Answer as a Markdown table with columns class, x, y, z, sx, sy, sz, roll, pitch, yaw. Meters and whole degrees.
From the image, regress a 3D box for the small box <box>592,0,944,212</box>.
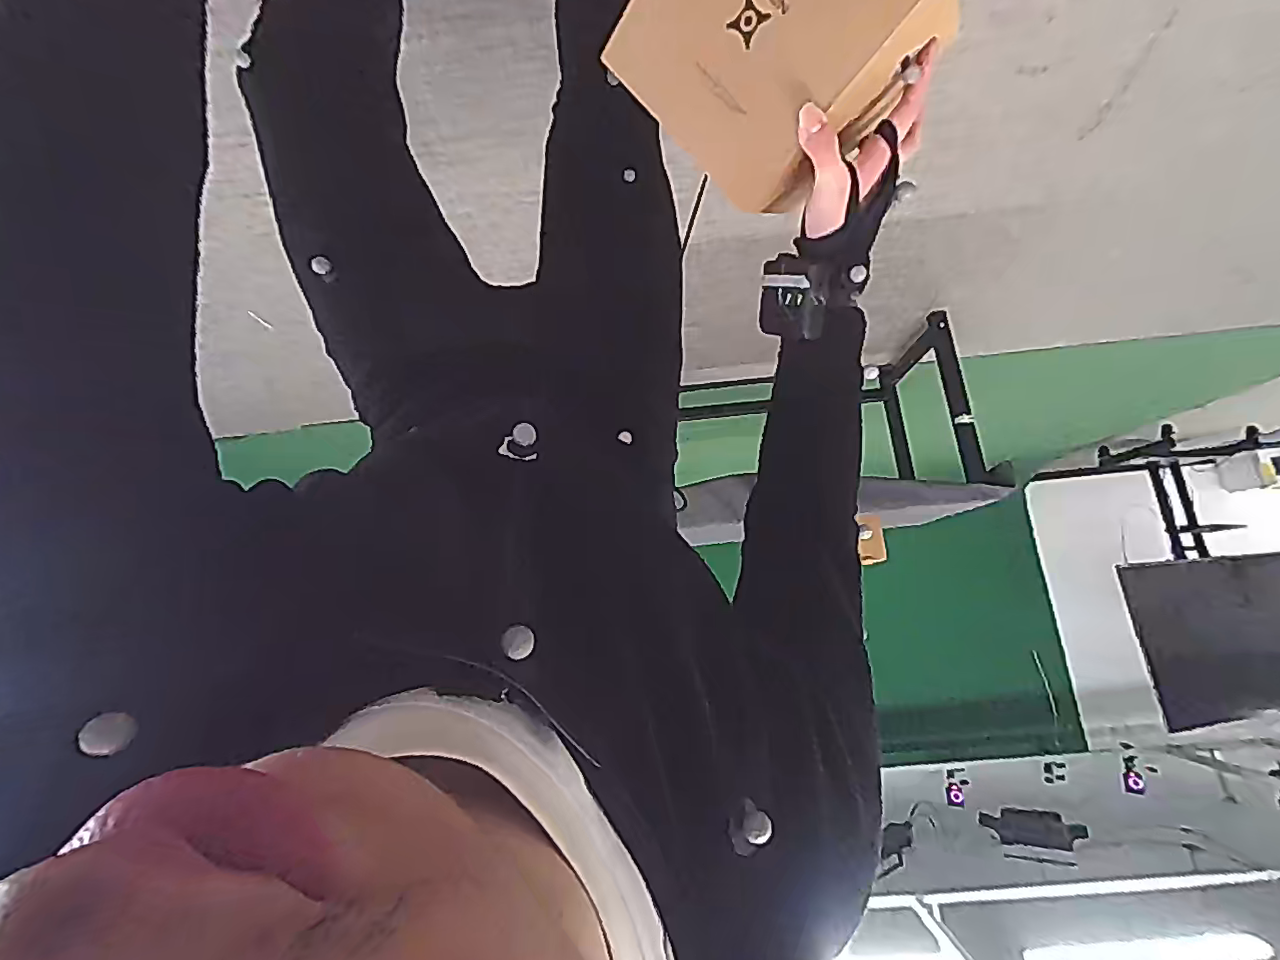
| class | x | y | z | sx | sy | sz | roll | pitch | yaw |
| --- | --- | --- | --- | --- | --- | --- | --- | --- | --- |
| small box | 0.103 | -0.334 | 0.410 | 0.179 | 0.168 | 0.176 | -41 | 177 | 37 |

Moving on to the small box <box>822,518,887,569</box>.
| class | x | y | z | sx | sy | sz | roll | pitch | yaw |
| --- | --- | --- | --- | --- | --- | --- | --- | --- | --- |
| small box | 0.817 | 0.242 | 2.081 | 0.168 | 0.176 | 0.179 | -6 | 167 | -2 |
